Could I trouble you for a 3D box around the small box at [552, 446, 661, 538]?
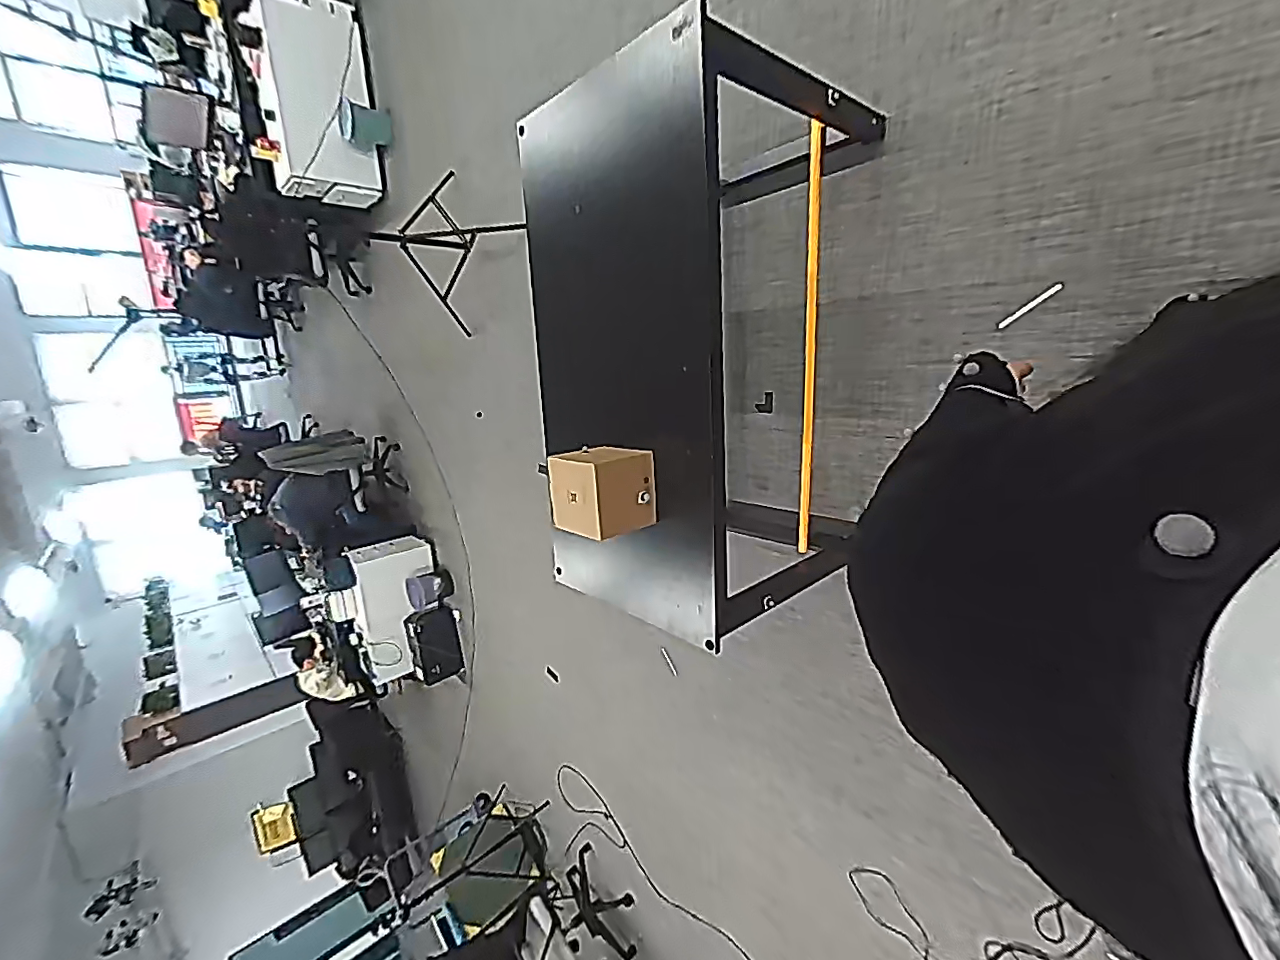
[{"bbox_3d":[-0.073,0.018,1.210,0.179,0.176,0.168,8,108,47],"label":"small box"}]
